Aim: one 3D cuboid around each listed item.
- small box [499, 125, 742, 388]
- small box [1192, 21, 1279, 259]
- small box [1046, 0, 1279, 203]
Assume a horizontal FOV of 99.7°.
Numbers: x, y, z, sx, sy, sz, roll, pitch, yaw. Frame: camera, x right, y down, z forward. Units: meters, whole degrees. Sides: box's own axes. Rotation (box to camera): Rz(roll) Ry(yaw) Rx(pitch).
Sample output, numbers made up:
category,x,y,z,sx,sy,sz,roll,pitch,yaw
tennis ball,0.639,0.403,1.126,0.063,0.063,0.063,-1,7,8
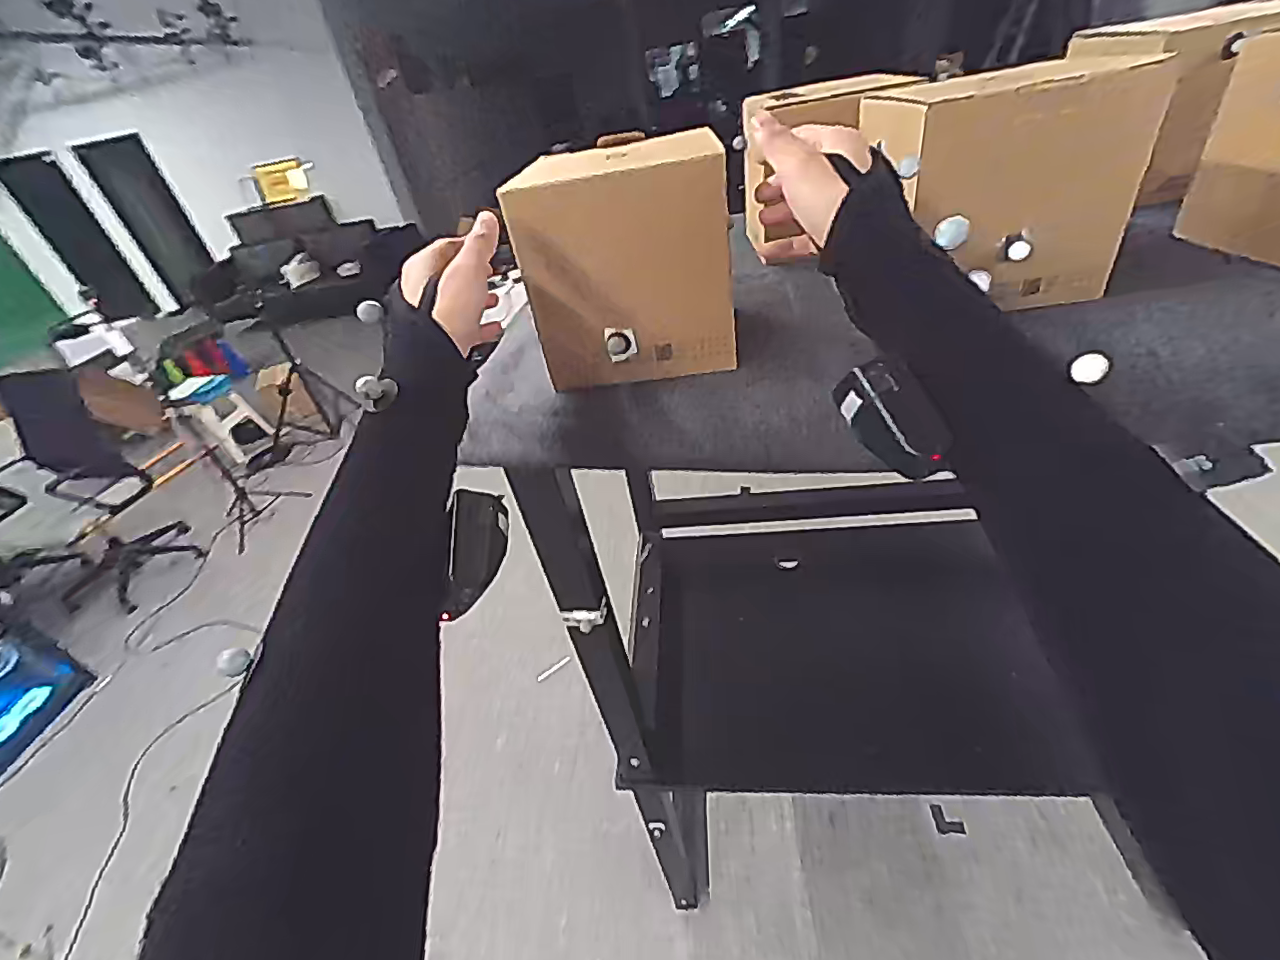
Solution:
category,x,y,z,sx,sy,sz,roll,pitch,yaw
small box,-0.004,-0.198,0.478,0.168,0.176,0.179,-7,36,6
small box,0.602,-0.268,0.411,0.168,0.176,0.179,-6,34,8
small box,0.622,-0.436,0.632,0.168,0.176,0.179,-6,37,8
